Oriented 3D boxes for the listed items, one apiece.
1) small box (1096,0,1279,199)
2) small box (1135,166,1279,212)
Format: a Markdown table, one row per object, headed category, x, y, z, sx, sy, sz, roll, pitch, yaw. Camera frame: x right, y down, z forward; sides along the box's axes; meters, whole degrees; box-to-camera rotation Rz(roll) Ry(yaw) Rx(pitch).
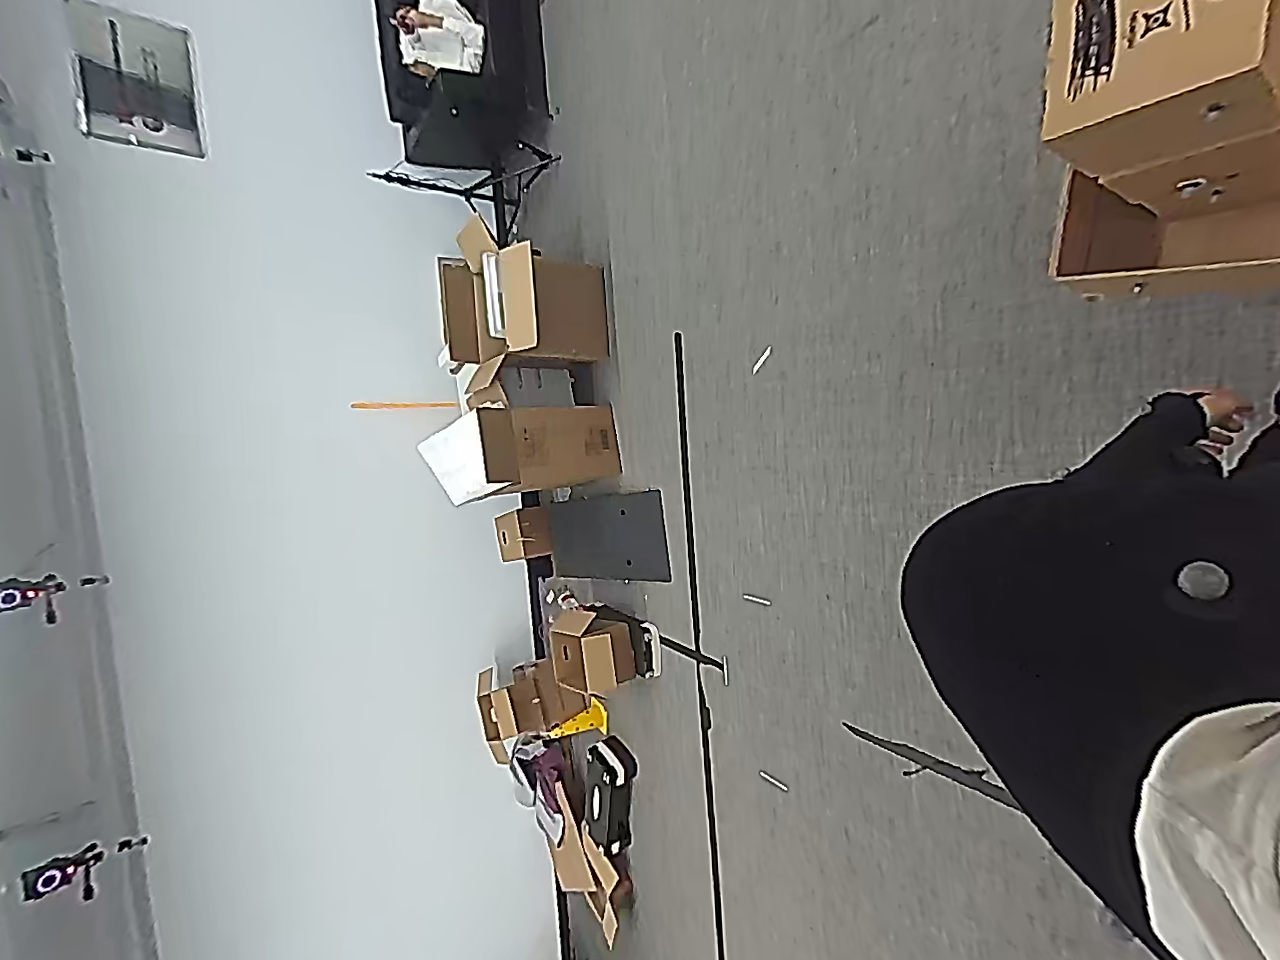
| category | x | y | z | sx | sy | sz | roll | pitch | yaw |
| --- | --- | --- | --- | --- | --- | --- | --- | --- | --- |
| small box | 0.716 | -0.488 | 0.686 | 0.168 | 0.176 | 0.179 | 9 | 102 | 55 |
| small box | 0.856 | -0.501 | 0.770 | 0.179 | 0.176 | 0.168 | 12 | 106 | 53 |
